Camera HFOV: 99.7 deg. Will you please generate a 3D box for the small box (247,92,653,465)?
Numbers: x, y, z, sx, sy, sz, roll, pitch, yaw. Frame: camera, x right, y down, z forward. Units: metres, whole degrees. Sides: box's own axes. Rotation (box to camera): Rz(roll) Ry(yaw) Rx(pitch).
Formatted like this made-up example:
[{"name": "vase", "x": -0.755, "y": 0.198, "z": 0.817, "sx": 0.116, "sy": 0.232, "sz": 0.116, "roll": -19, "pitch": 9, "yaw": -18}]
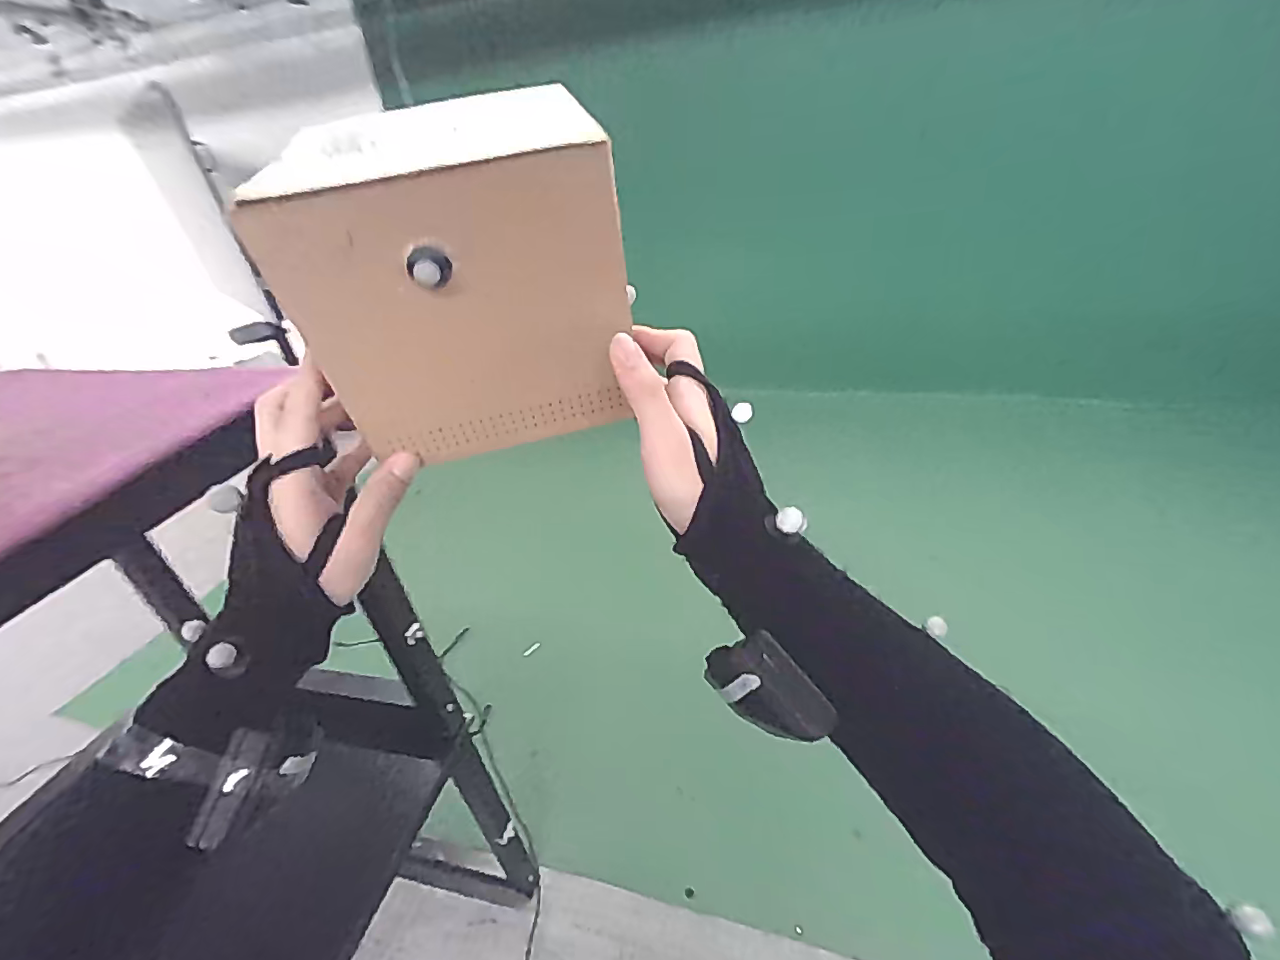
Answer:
[{"name": "small box", "x": -0.099, "y": -0.131, "z": 0.359, "sx": 0.179, "sy": 0.176, "sz": 0.168, "roll": -14, "pitch": 44, "yaw": -4}]
